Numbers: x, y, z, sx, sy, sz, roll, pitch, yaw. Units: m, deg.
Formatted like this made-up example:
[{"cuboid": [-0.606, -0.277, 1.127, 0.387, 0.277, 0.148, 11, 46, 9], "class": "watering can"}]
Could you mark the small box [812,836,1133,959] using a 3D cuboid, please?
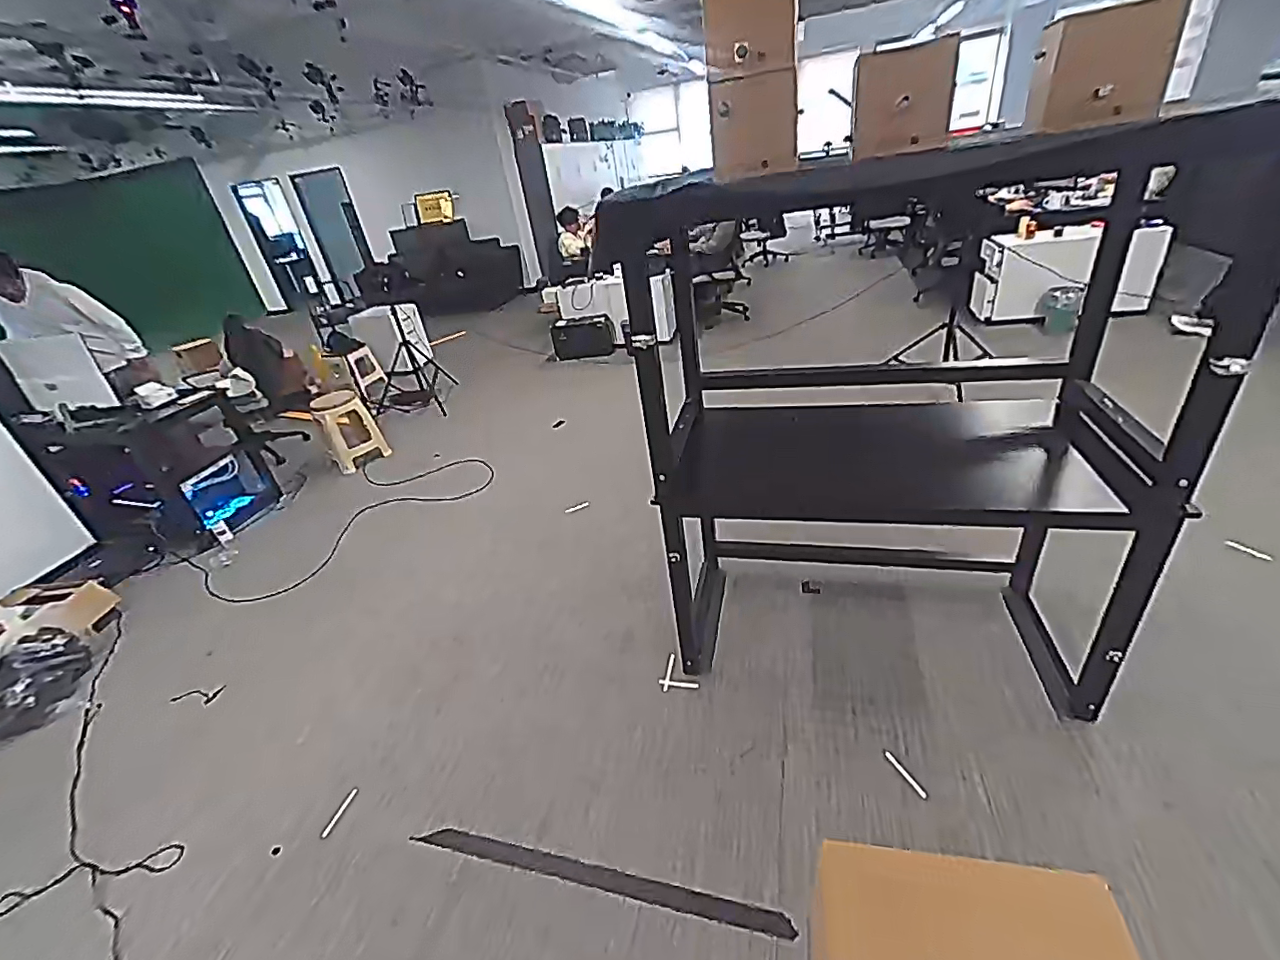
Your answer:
[{"cuboid": [0.198, 0.359, 0.329, 0.168, 0.176, 0.179, -1, 35, 13], "class": "small box"}]

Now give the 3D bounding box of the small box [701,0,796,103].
[{"cuboid": [0.215, -0.845, 1.045, 0.168, 0.176, 0.179, 0, 30, 17], "class": "small box"}]

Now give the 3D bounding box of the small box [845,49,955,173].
[{"cuboid": [0.492, -0.701, 1.047, 0.168, 0.176, 0.179, 2, 30, 17], "class": "small box"}]

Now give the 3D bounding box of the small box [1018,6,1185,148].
[{"cuboid": [0.791, -0.694, 0.952, 0.168, 0.176, 0.179, 4, 32, 22], "class": "small box"}]
